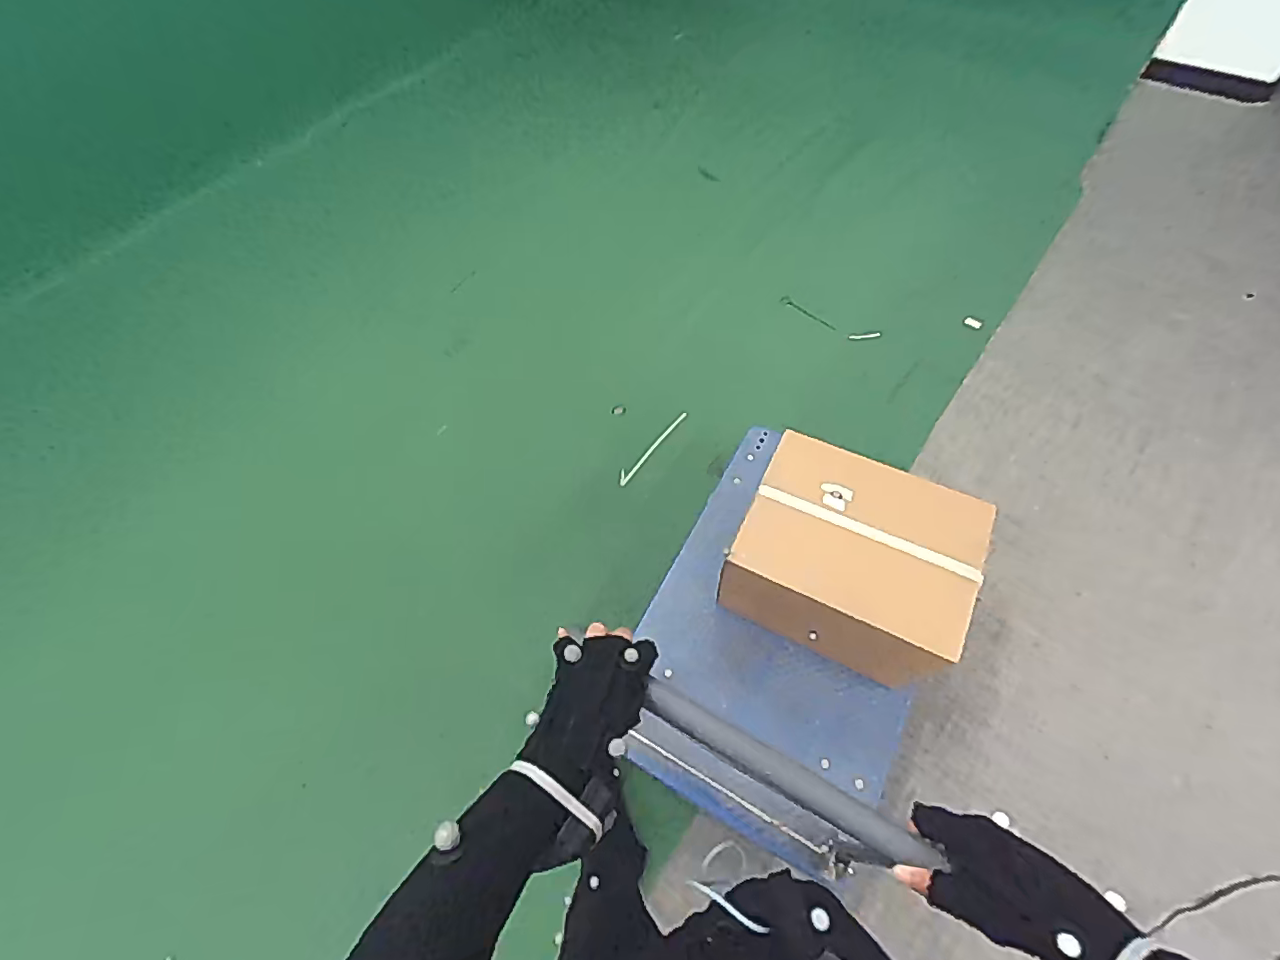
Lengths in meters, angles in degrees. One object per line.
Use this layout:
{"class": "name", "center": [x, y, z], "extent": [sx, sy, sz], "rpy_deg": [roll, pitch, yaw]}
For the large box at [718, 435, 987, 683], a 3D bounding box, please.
{"class": "large box", "center": [0.406, 0.169, 1.111], "extent": [0.408, 0.320, 0.320], "rpy_deg": [23, 66, 18]}
